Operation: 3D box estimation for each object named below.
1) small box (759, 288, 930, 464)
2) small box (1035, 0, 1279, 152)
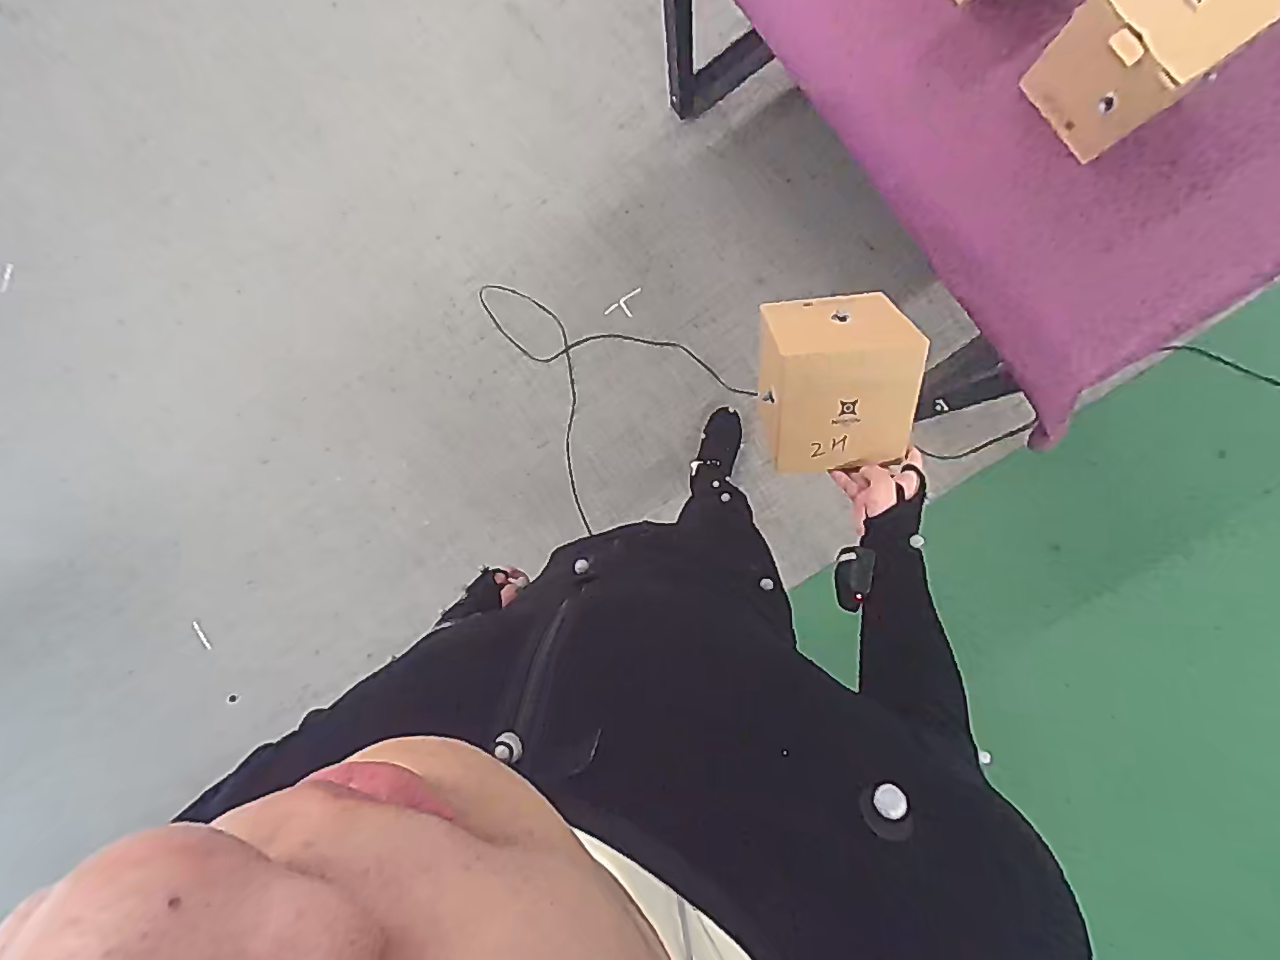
[{"bbox_3d":[0.253,-0.144,0.718,0.168,0.176,0.179,-4,128,5],"label":"small box"},{"bbox_3d":[0.691,-0.600,0.737,0.179,0.176,0.168,-35,87,5],"label":"small box"}]
